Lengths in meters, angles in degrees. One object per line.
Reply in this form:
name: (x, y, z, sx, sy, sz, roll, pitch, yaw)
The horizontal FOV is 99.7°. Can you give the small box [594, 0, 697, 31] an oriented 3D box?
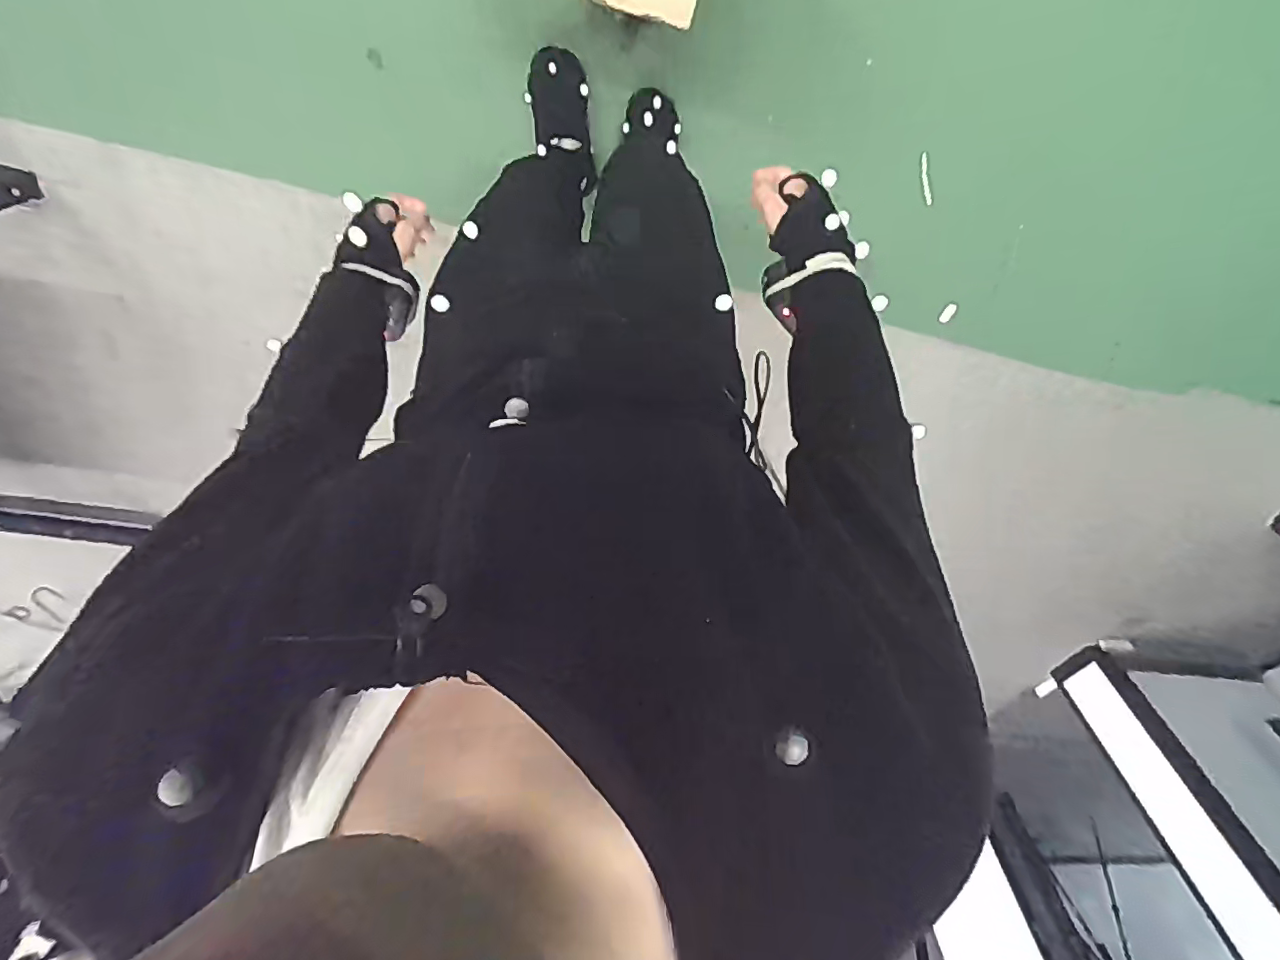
small box: (-0.001, -0.679, 0.651, 0.168, 0.176, 0.179, 9, 132, -11)
